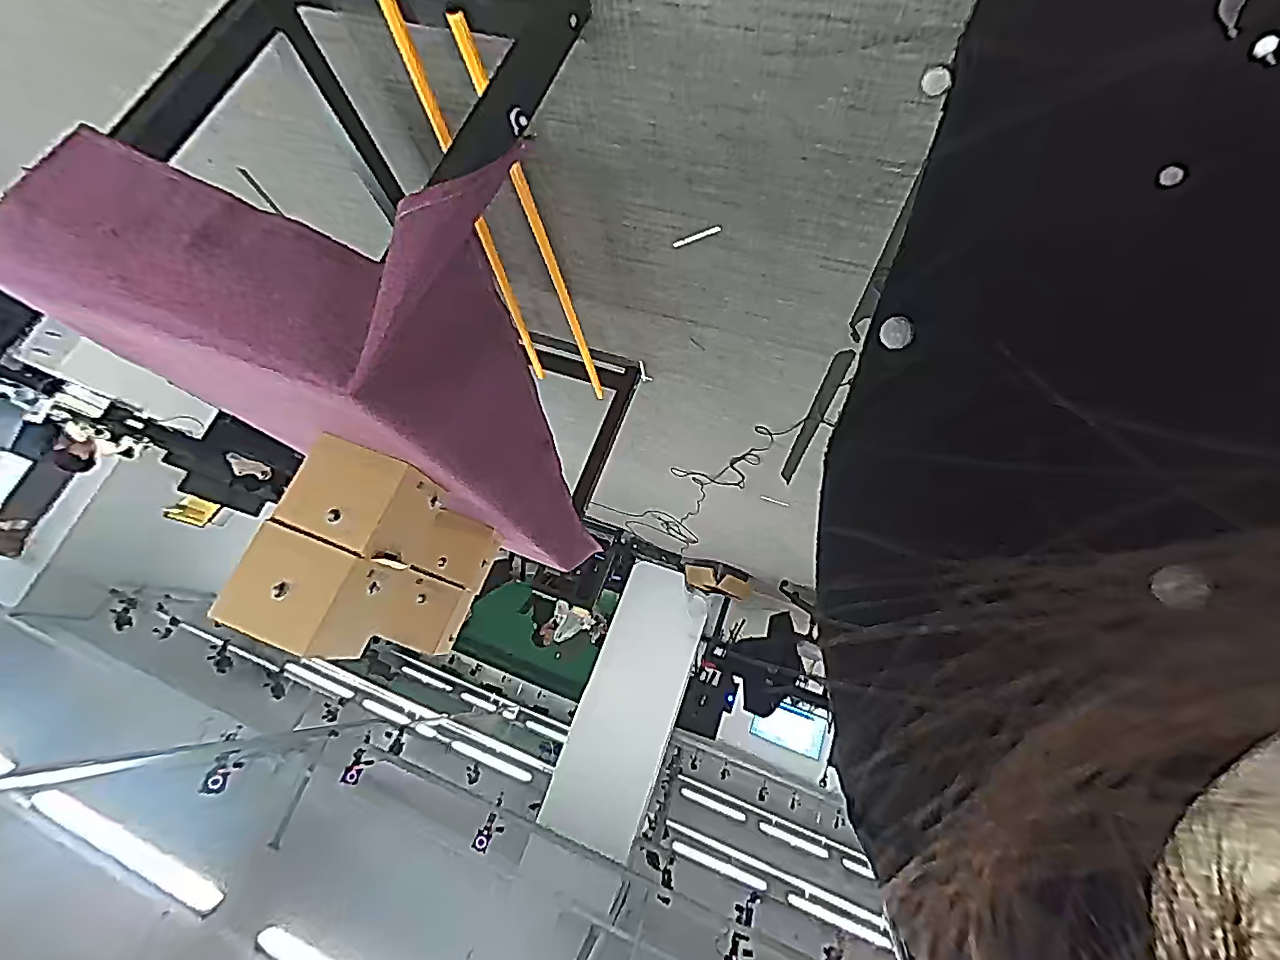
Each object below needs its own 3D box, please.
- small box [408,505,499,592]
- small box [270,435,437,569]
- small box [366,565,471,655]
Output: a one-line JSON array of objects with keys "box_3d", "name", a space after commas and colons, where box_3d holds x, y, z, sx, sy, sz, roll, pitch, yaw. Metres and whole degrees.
[{"box_3d": [-0.480, 0.177, 1.397, 0.179, 0.176, 0.168, 21, 163, 0], "name": "small box"}, {"box_3d": [-0.486, 0.039, 0.954, 0.179, 0.176, 0.168, 20, 164, 8], "name": "small box"}, {"box_3d": [-0.538, 0.322, 1.346, 0.168, 0.176, 0.179, 21, 163, -1], "name": "small box"}]
